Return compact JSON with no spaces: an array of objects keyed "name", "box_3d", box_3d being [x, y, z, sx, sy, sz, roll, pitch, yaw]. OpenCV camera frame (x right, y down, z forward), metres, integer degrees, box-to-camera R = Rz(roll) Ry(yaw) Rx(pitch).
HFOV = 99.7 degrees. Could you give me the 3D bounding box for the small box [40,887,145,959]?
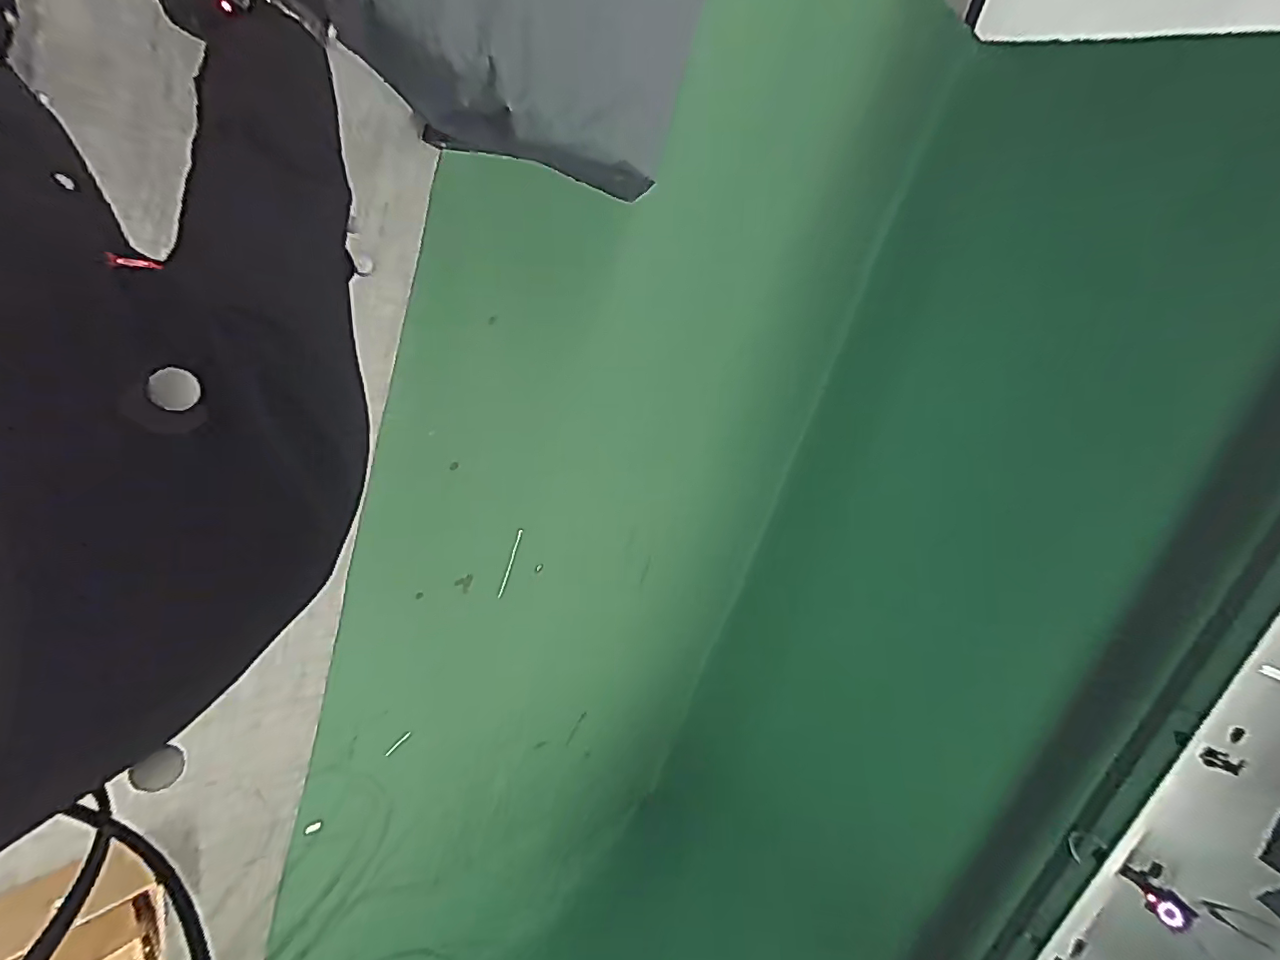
[{"name":"small box","box_3d":[-1.437,1.240,1.421,0.179,0.176,0.168,-13,124,-48]}]
